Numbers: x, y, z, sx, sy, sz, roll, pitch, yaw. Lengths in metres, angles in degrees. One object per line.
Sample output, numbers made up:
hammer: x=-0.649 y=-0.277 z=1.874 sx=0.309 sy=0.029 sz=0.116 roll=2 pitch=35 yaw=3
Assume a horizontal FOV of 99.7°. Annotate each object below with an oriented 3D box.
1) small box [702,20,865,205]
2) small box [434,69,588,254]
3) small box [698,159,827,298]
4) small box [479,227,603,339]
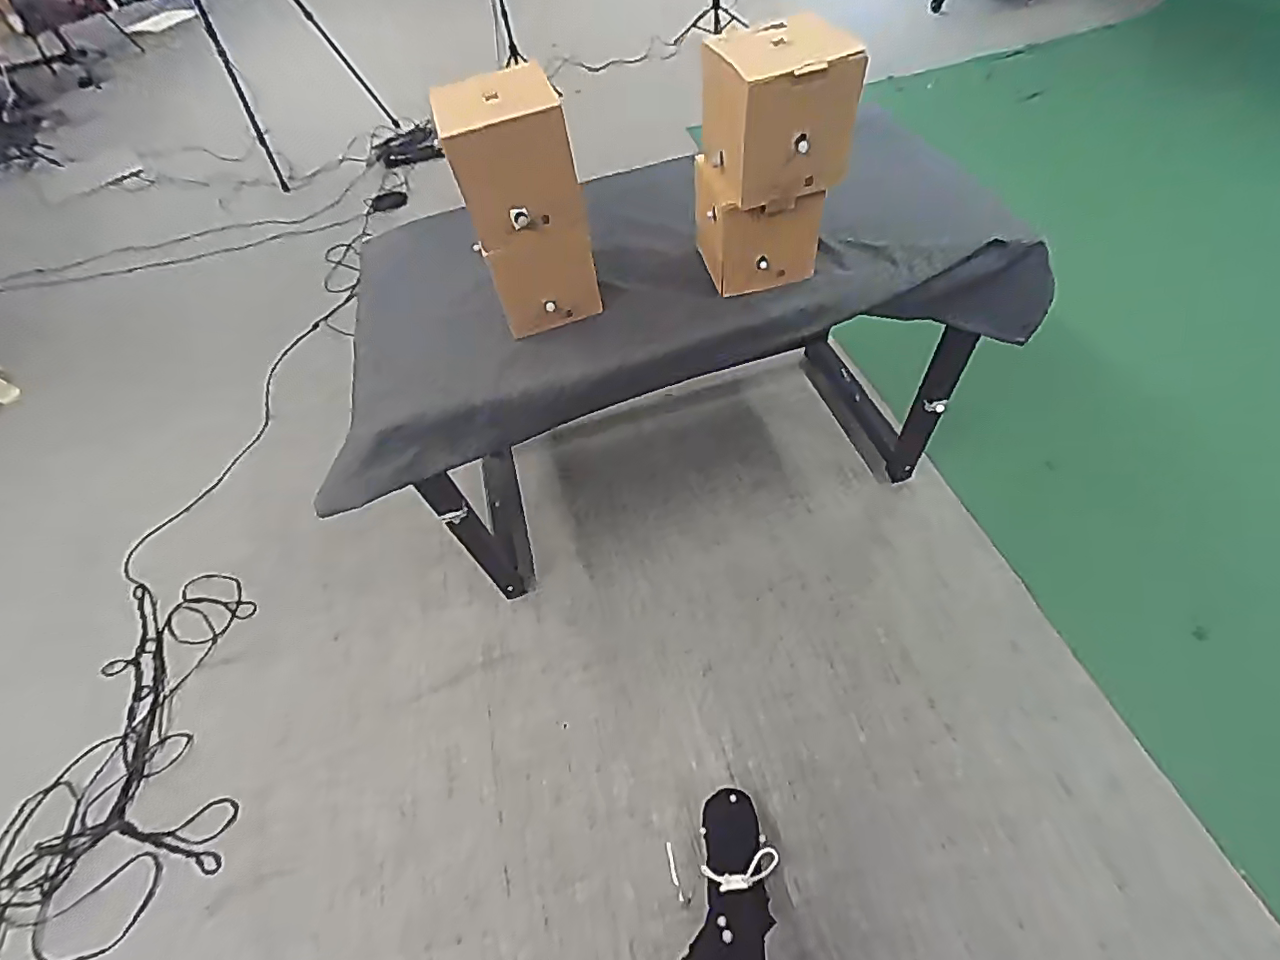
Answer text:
small box: x=0.199 y=-0.529 z=0.795 sx=0.168 sy=0.176 sz=0.179 roll=-17 pitch=55 yaw=-4
small box: x=-0.188 y=-0.473 z=0.810 sx=0.168 sy=0.176 sz=0.179 roll=-20 pitch=56 yaw=-4
small box: x=0.200 y=-0.447 z=0.938 sx=0.168 sy=0.176 sz=0.179 roll=-13 pitch=54 yaw=-2
small box: x=-0.174 y=-0.378 z=0.941 sx=0.168 sy=0.176 sz=0.179 roll=-19 pitch=55 yaw=-5
